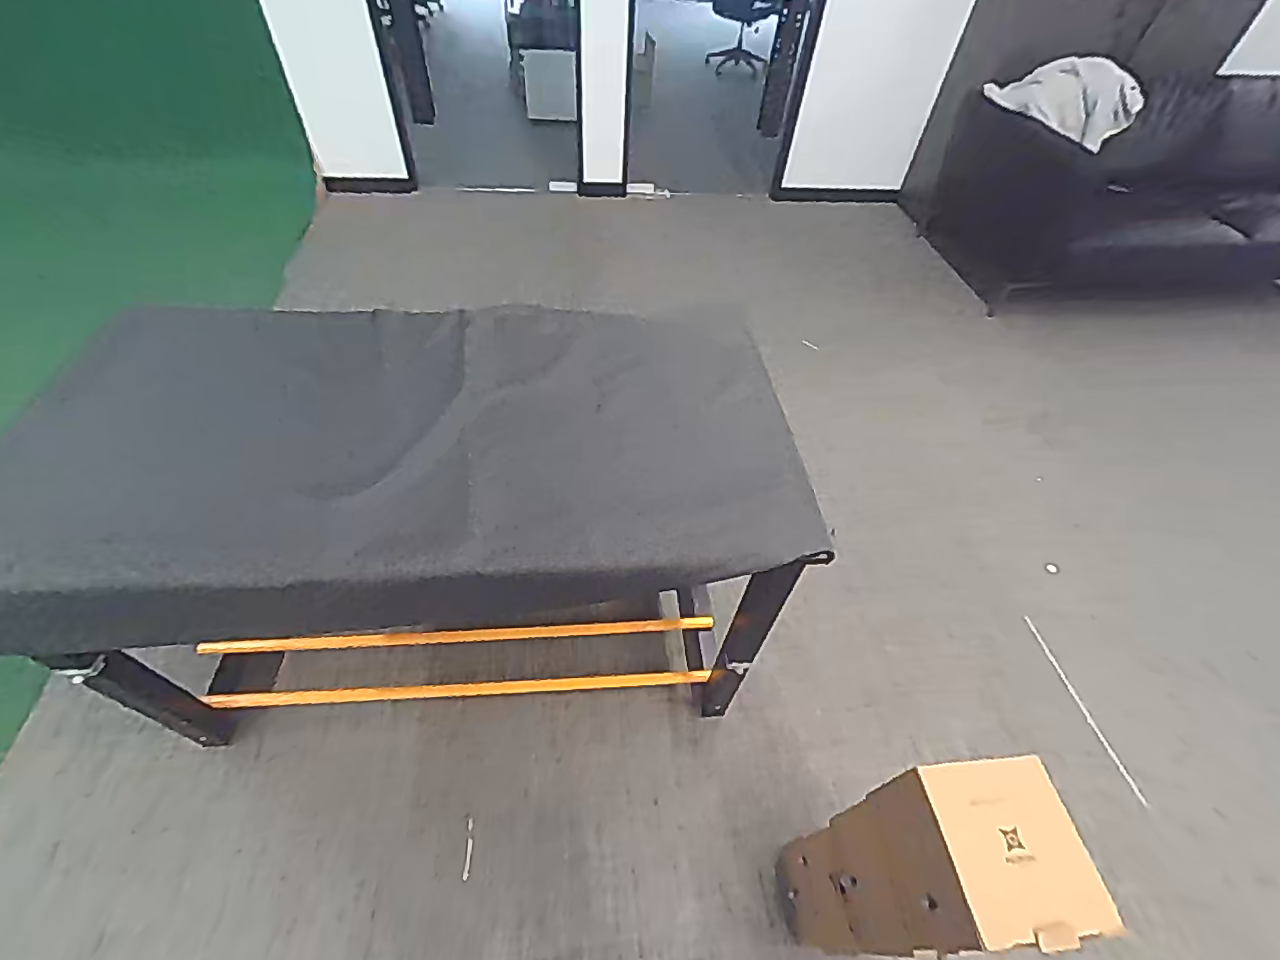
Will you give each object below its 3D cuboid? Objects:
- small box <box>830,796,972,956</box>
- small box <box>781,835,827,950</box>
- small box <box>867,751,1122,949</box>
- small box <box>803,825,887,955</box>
[{"bbox_3d":[0.405,0.571,0.793,0.168,0.176,0.179,-1,50,-7],"label":"small box"},{"bbox_3d":[0.392,0.788,1.039,0.179,0.176,0.168,0,48,-6],"label":"small box"},{"bbox_3d":[0.416,0.461,0.675,0.168,0.176,0.179,-2,48,-7],"label":"small box"},{"bbox_3d":[0.391,0.684,0.912,0.179,0.176,0.168,-2,49,-8],"label":"small box"}]
